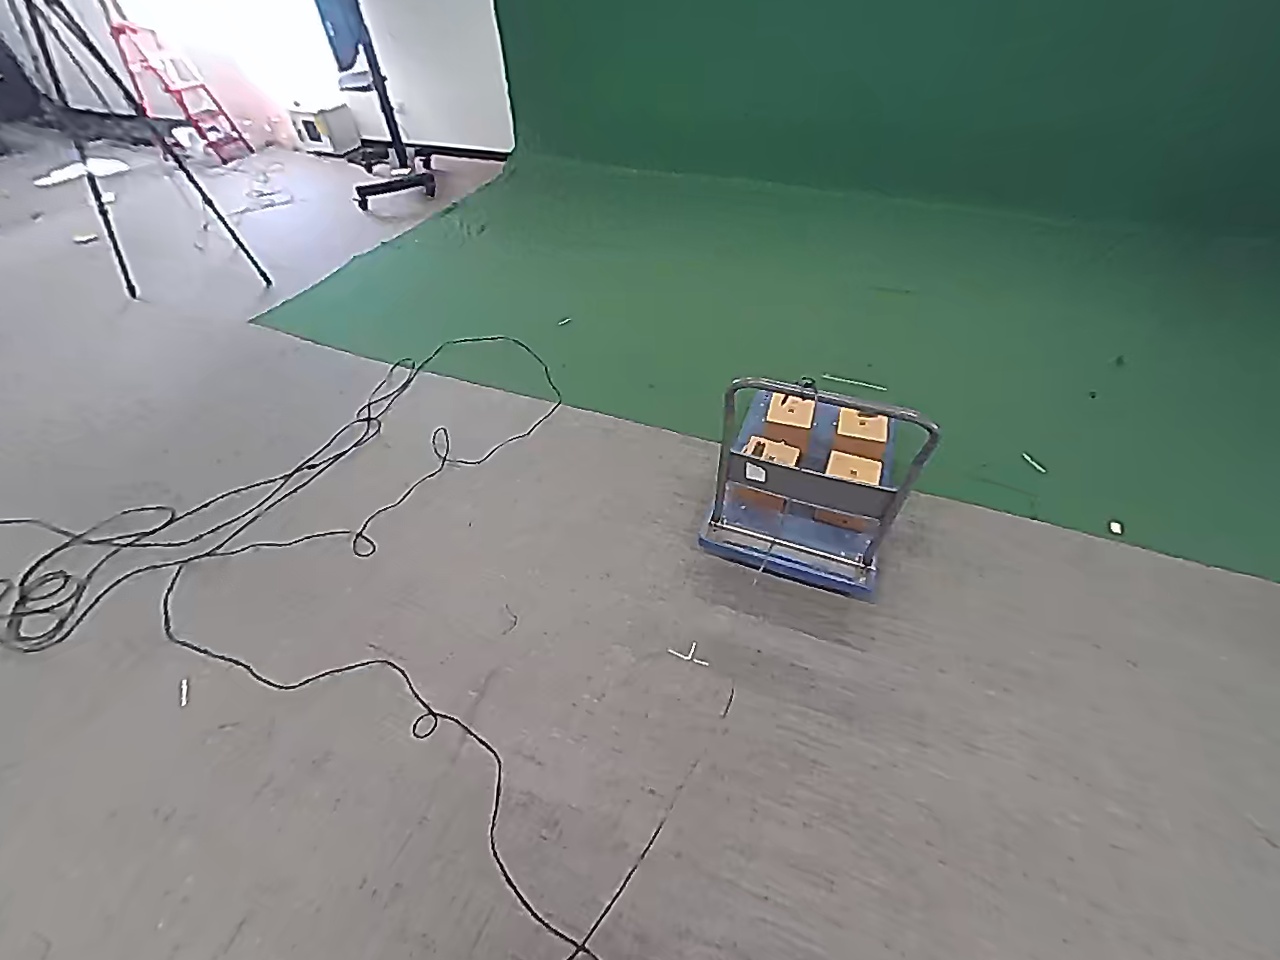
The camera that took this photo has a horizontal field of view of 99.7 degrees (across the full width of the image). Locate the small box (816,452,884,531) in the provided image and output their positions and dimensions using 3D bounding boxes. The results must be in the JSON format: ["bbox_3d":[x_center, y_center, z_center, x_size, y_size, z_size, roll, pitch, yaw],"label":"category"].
[{"bbox_3d":[0.702,0.038,1.815,0.168,0.176,0.179,16,50,17],"label":"small box"}]

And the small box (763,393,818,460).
[{"bbox_3d":[0.565,-0.198,2.043,0.168,0.176,0.179,13,49,13],"label":"small box"}]

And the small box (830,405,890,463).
[{"bbox_3d":[0.804,-0.147,1.983,0.168,0.176,0.179,12,49,15],"label":"small box"}]
